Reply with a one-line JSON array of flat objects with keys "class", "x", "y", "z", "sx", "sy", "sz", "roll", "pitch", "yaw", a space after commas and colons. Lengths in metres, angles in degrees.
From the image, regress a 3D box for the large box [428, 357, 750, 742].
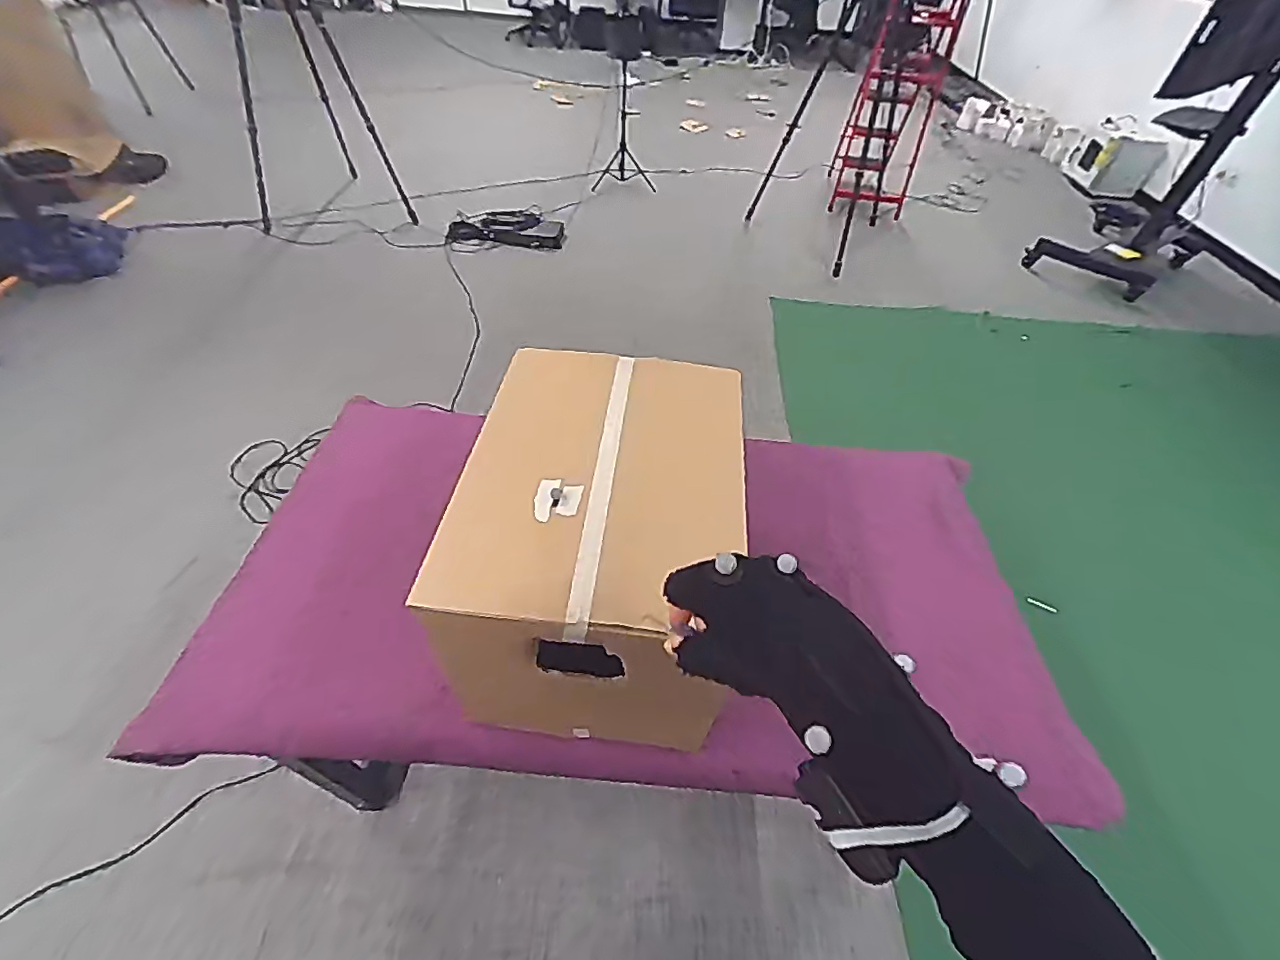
[{"class": "large box", "x": -0.043, "y": 0.089, "z": 0.743, "sx": 0.320, "sy": 0.320, "sz": 0.408, "roll": 7, "pitch": 49, "yaw": 1}]
